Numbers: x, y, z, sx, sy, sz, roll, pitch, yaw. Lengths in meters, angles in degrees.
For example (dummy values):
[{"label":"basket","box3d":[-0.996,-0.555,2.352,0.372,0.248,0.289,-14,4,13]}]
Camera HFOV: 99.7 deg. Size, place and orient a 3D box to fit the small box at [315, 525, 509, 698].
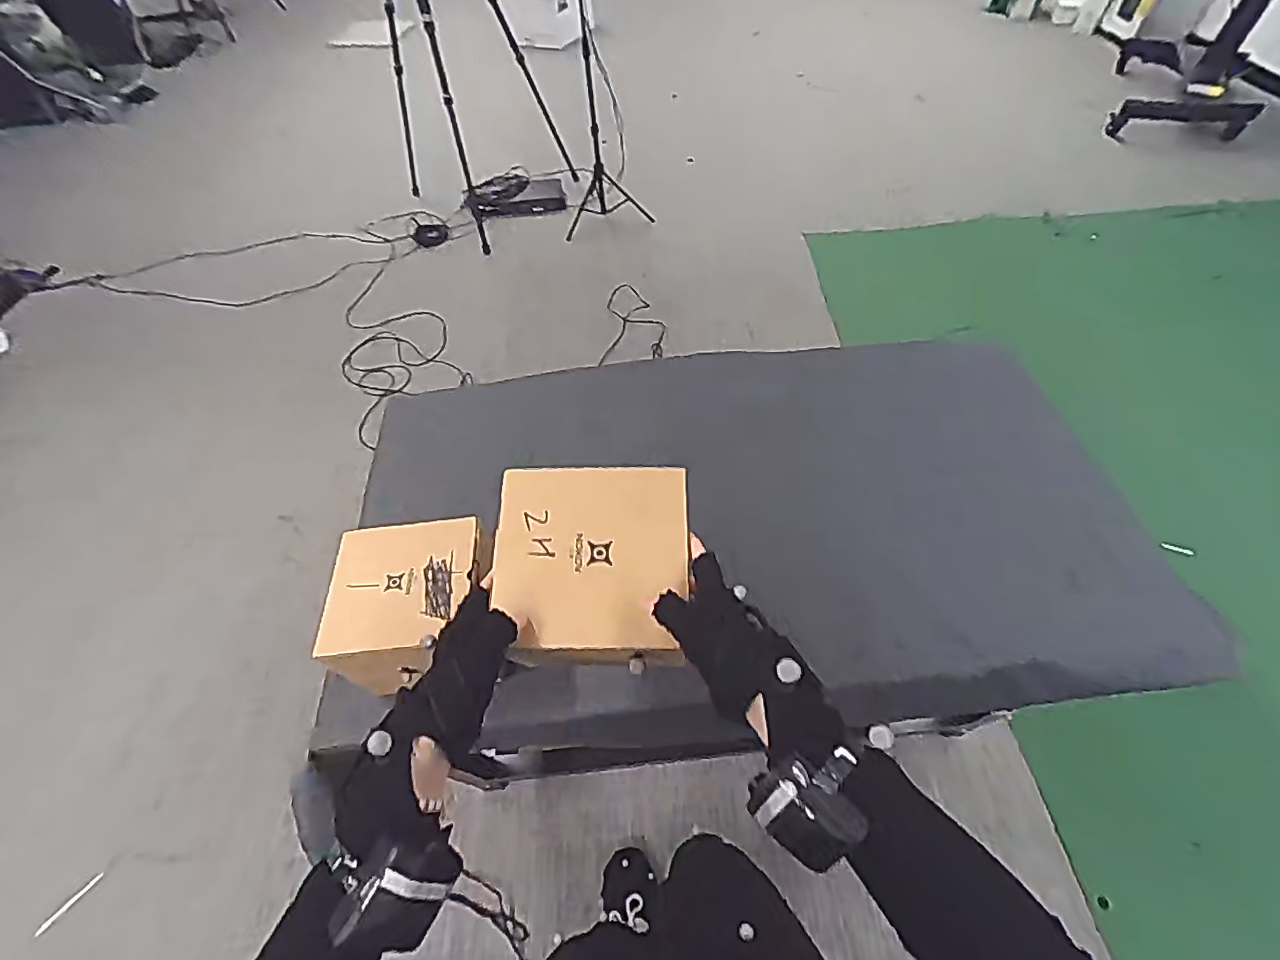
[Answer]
[{"label":"small box","box3d":[-0.278,0.177,0.712,0.179,0.176,0.168,-6,54,-1]}]
